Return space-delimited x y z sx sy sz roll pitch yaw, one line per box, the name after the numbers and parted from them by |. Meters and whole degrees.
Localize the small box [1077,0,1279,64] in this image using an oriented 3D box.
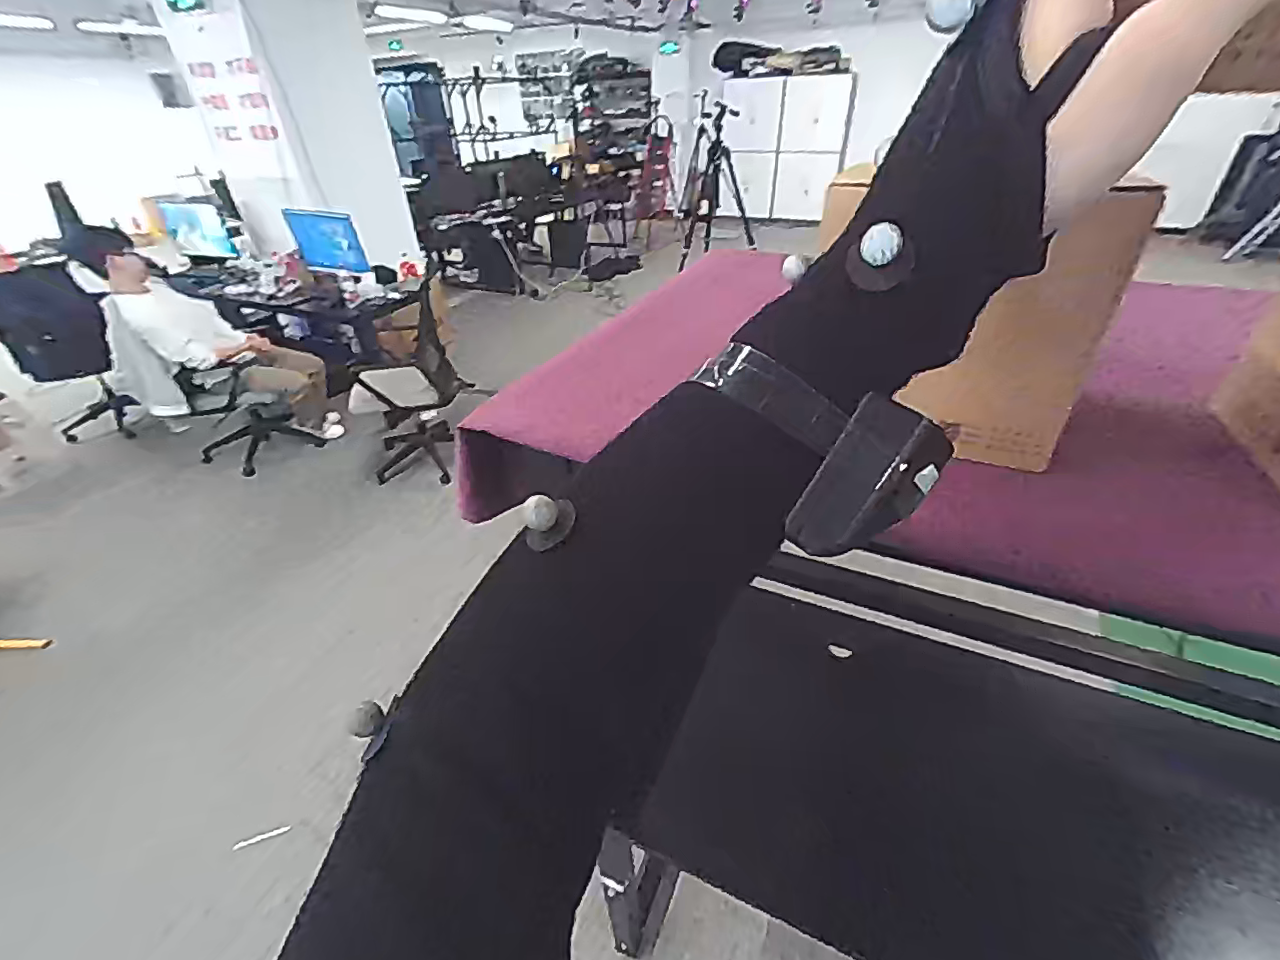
0.273 -0.258 0.168 0.179 0.176 0.168 14 60 21 | small box

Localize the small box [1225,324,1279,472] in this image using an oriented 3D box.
0.489 -0.067 0.282 0.179 0.176 0.168 15 37 22 | small box
